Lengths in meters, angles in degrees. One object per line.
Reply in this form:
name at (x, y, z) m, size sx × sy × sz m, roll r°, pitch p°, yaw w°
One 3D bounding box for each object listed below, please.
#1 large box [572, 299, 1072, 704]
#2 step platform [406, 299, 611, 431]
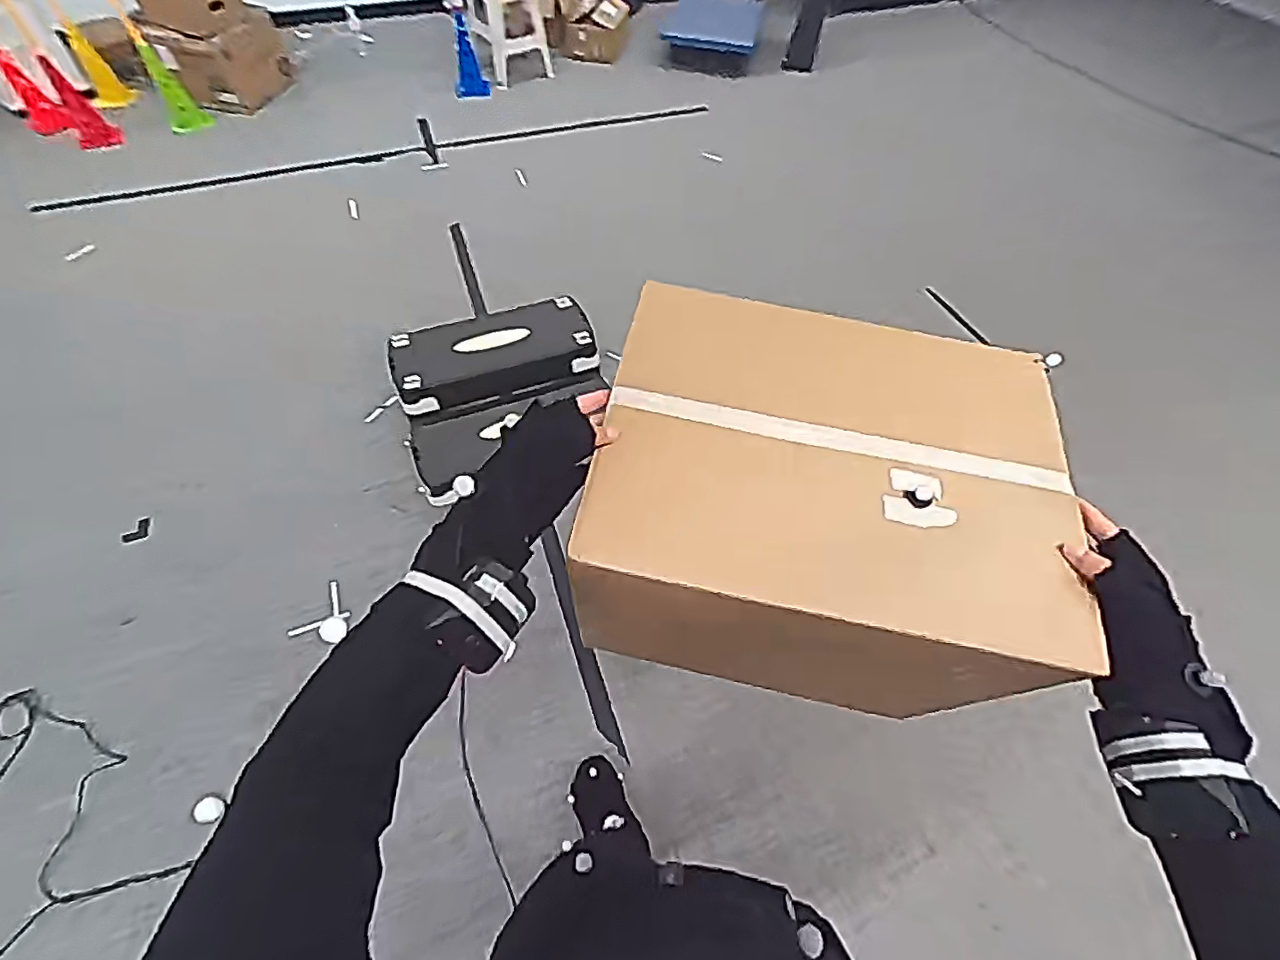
large box at (0.153, 0.043, 0.622) m, size 0.408 × 0.320 × 0.320 m, roll 11°, pitch 61°, yaw 2°
step platform at (-0.450, -0.416, 1.895) m, size 0.684 × 0.204 × 0.286 m, roll -18°, pitch 59°, yaw -15°
